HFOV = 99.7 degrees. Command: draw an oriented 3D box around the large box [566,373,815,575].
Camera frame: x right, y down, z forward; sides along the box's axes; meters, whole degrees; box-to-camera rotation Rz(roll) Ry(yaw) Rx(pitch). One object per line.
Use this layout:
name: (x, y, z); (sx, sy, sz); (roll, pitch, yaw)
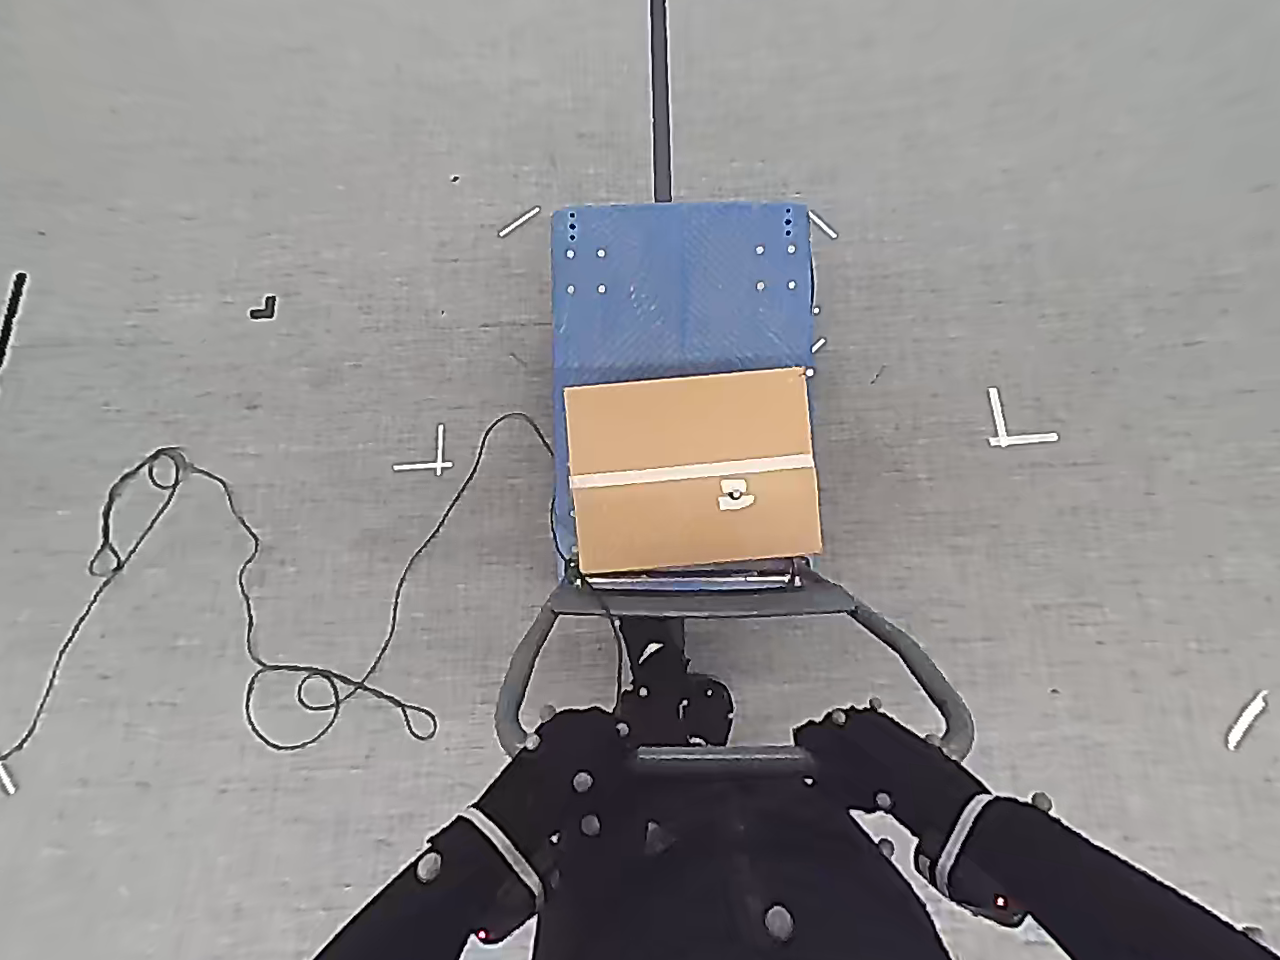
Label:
large box: (0.084, -0.007, 1.068); (0.408, 0.320, 0.320); (-5, 90, 0)
